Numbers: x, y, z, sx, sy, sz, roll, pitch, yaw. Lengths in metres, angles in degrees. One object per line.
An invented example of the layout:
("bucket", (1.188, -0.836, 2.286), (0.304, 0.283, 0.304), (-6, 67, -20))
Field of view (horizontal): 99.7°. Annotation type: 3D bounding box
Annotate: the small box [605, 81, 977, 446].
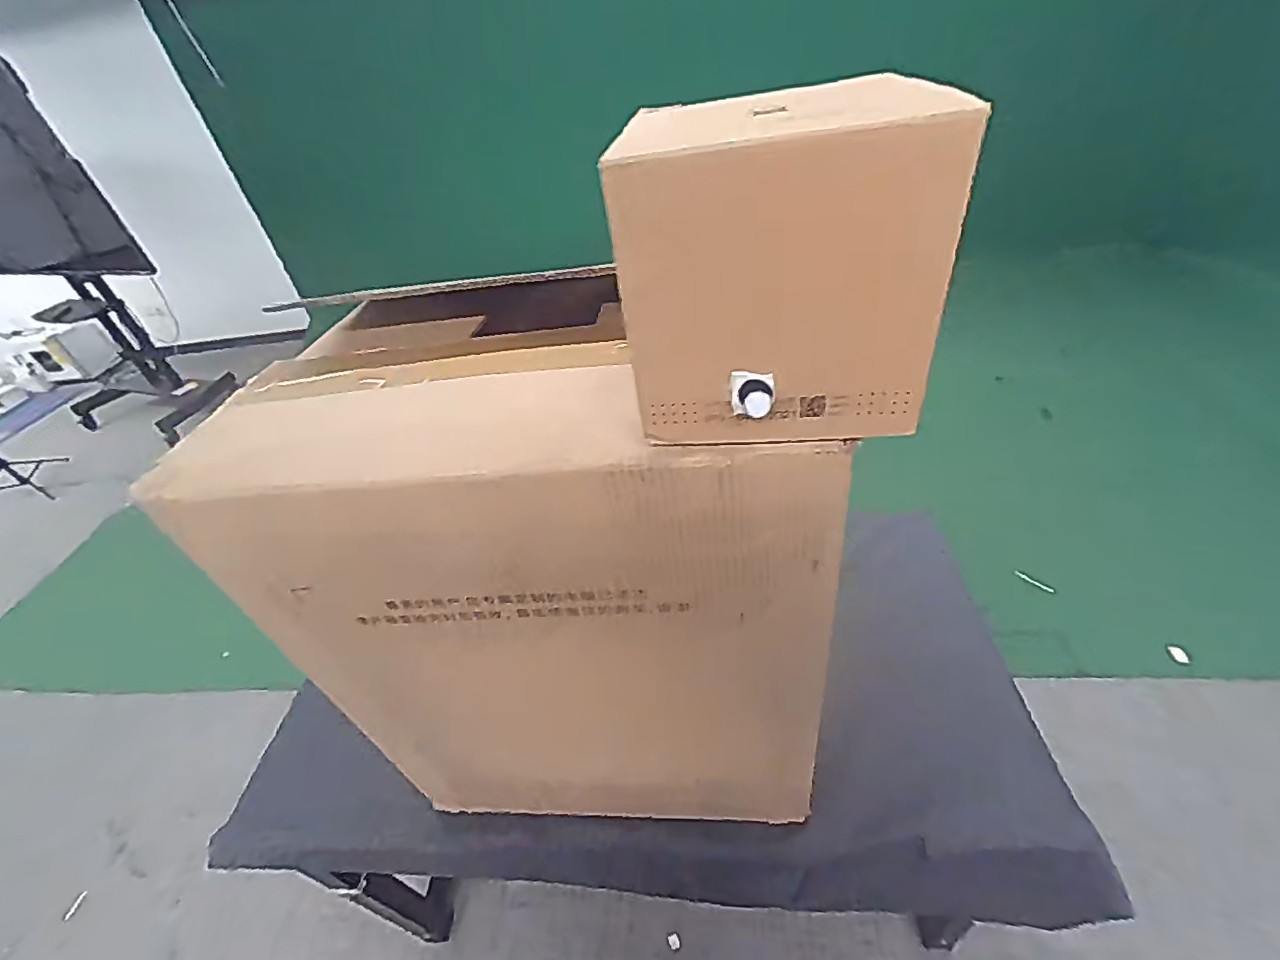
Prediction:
("small box", (0.080, -0.141, 0.354), (0.168, 0.176, 0.179), (-4, 40, 8))
